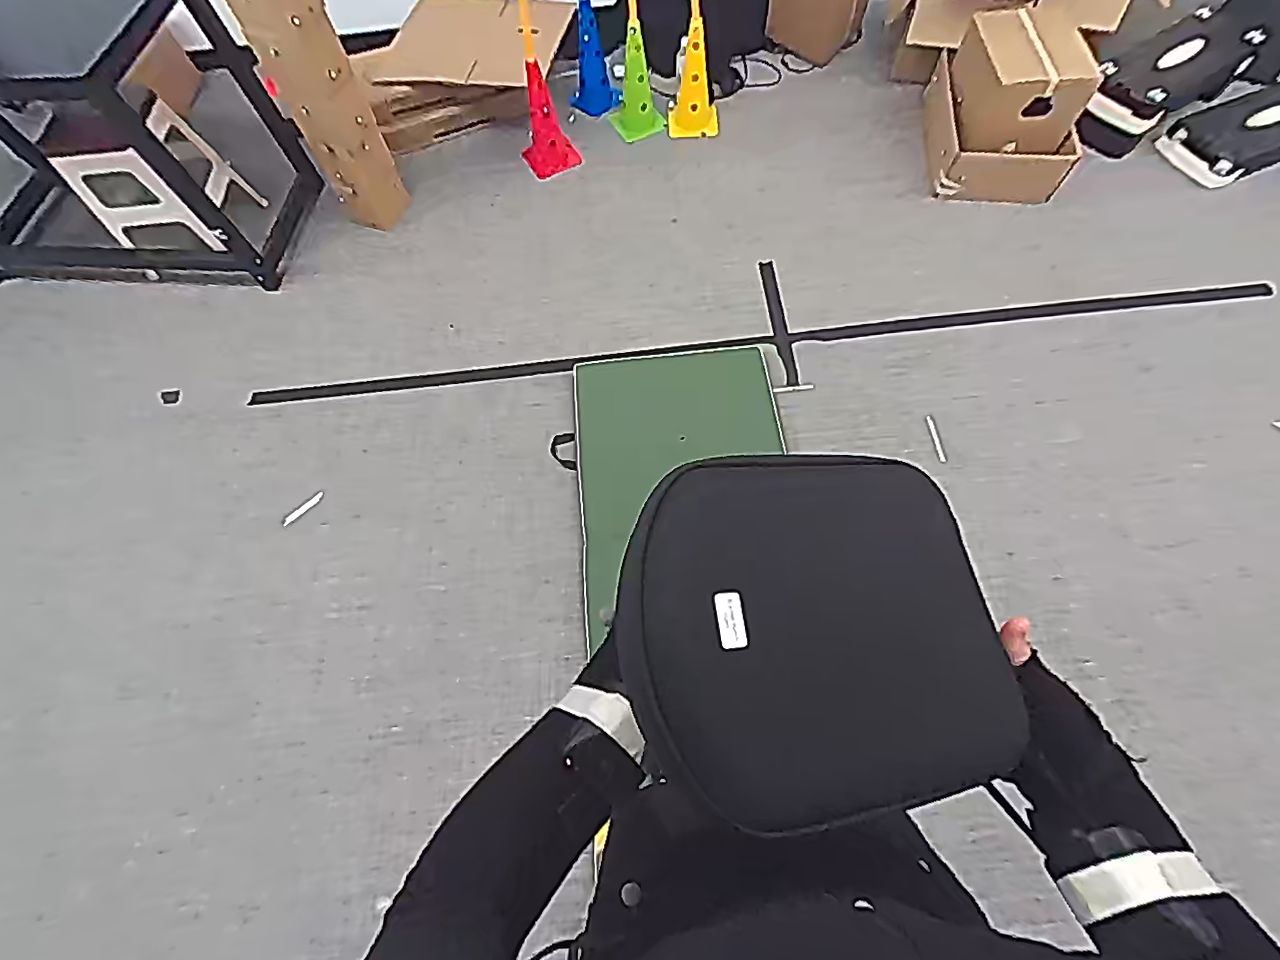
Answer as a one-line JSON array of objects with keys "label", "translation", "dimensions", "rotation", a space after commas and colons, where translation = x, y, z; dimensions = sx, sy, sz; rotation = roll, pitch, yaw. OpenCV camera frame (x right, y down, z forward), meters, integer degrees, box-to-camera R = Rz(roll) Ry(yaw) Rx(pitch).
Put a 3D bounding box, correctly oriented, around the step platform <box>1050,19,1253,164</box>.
[{"label": "step platform", "translation": [1.949, -1.490, 2.064], "dimensions": [0.684, 0.204, 0.286], "rotation": [-33, 68, -11]}]
